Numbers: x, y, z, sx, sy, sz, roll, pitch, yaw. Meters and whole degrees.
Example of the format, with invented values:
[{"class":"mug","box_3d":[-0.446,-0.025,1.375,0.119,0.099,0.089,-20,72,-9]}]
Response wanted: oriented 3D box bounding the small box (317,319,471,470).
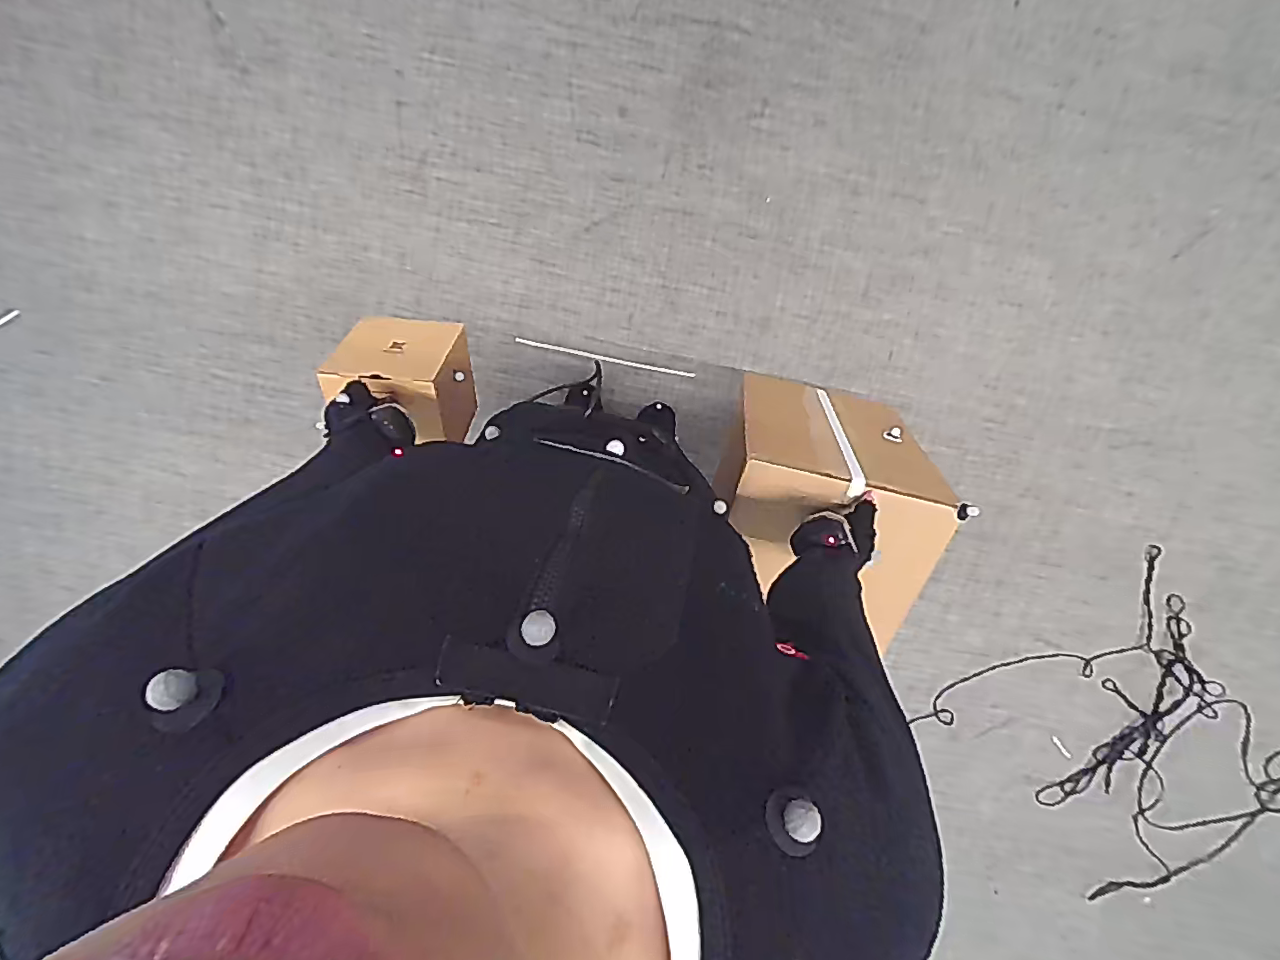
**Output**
[{"class":"small box","box_3d":[-0.381,-0.139,0.880,0.168,0.179,0.176,4,133,-2]}]
